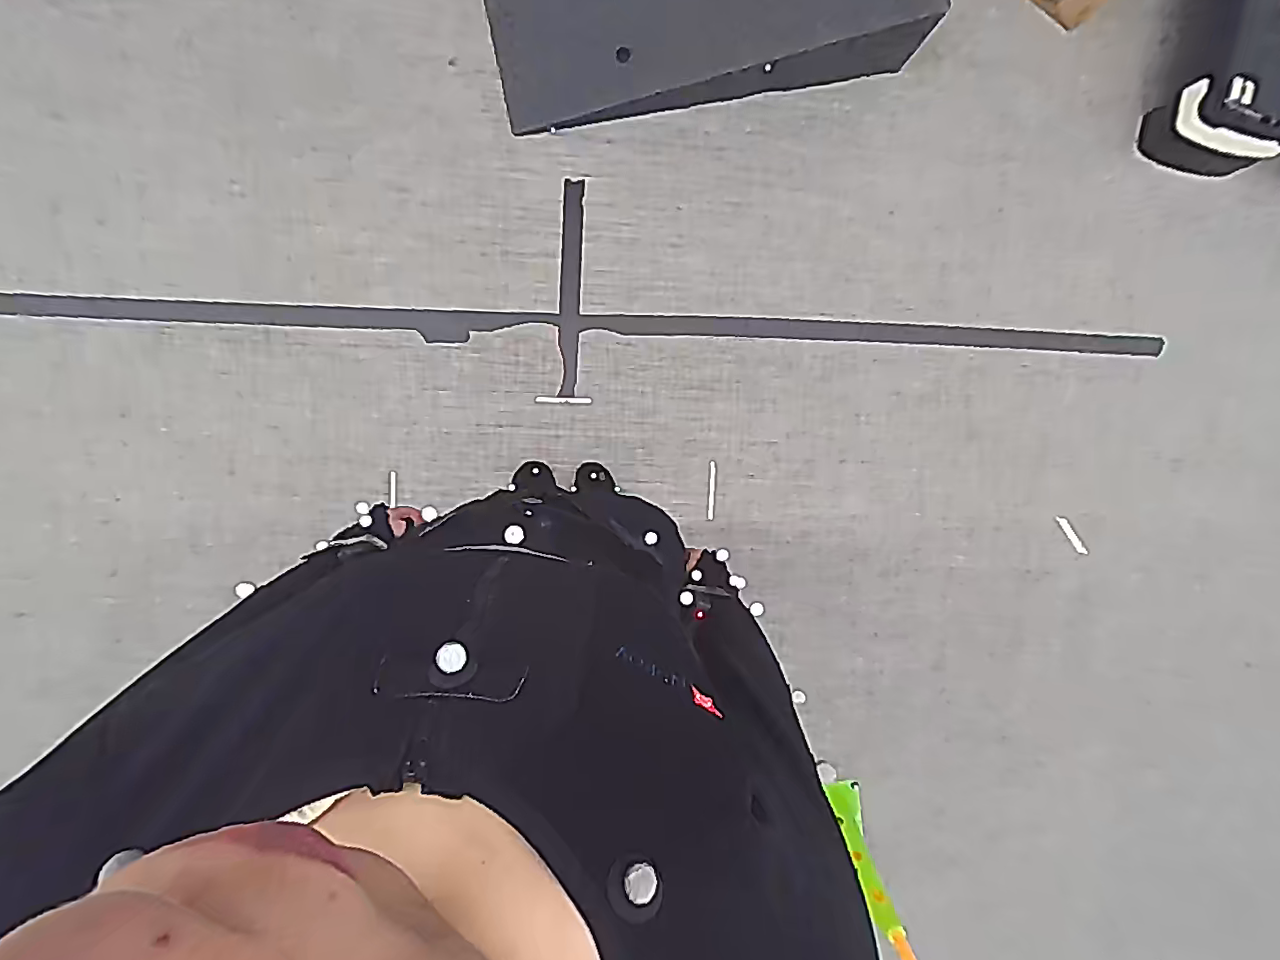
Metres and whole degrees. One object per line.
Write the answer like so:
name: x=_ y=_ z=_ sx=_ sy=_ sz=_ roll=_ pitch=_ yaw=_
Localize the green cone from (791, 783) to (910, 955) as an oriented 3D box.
green cone: x=0.526 y=0.948 z=1.302 sx=0.200 sy=0.368 sz=0.202 roll=-9 pitch=97 yaw=-3
